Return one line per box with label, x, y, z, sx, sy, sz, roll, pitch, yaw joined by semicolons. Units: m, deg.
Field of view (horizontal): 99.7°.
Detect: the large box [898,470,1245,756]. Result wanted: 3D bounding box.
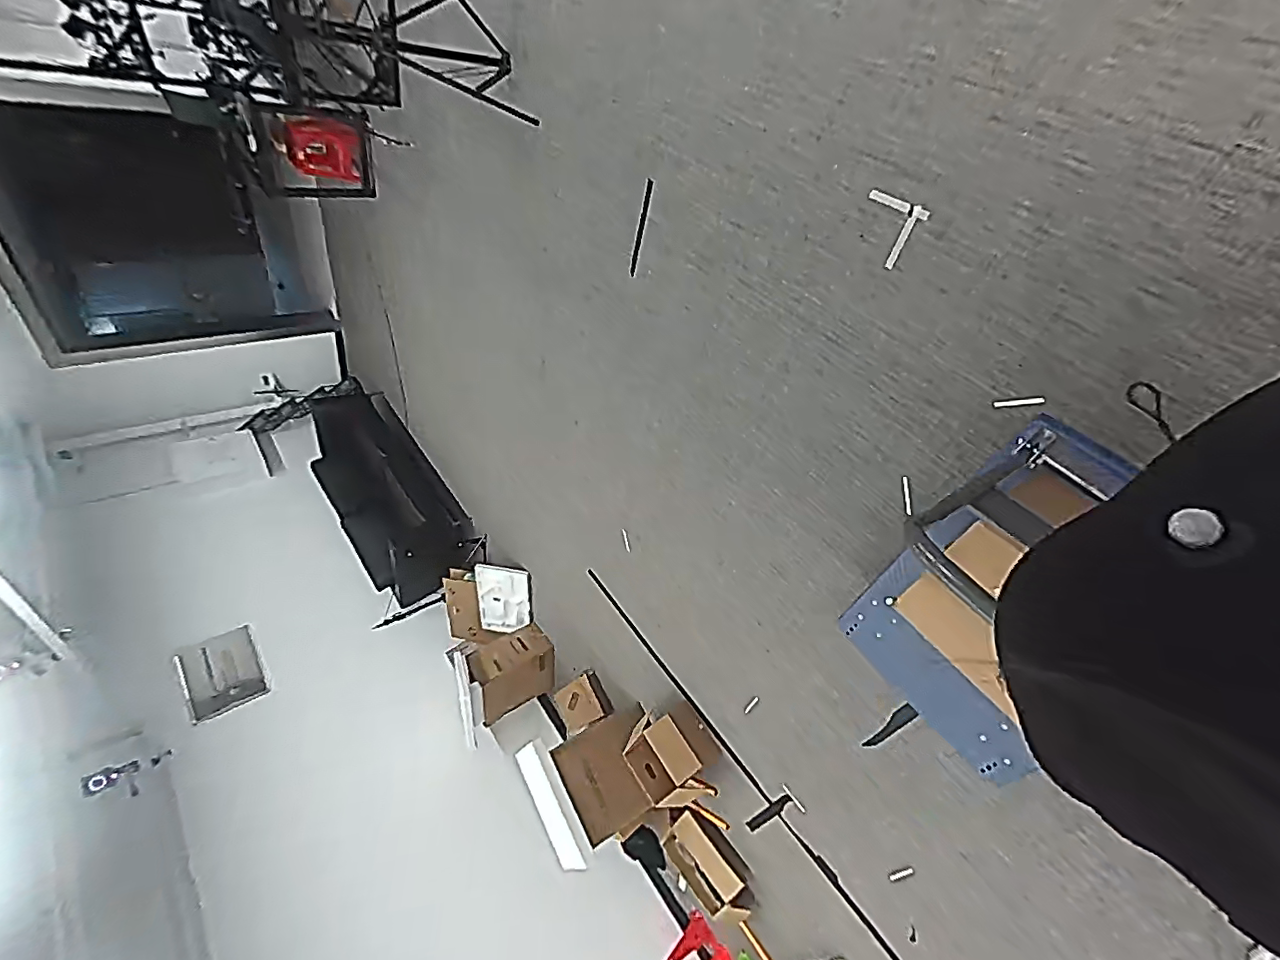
large box;0.841;0.248;1.094;0.408;0.320;0.320;49;139;28
